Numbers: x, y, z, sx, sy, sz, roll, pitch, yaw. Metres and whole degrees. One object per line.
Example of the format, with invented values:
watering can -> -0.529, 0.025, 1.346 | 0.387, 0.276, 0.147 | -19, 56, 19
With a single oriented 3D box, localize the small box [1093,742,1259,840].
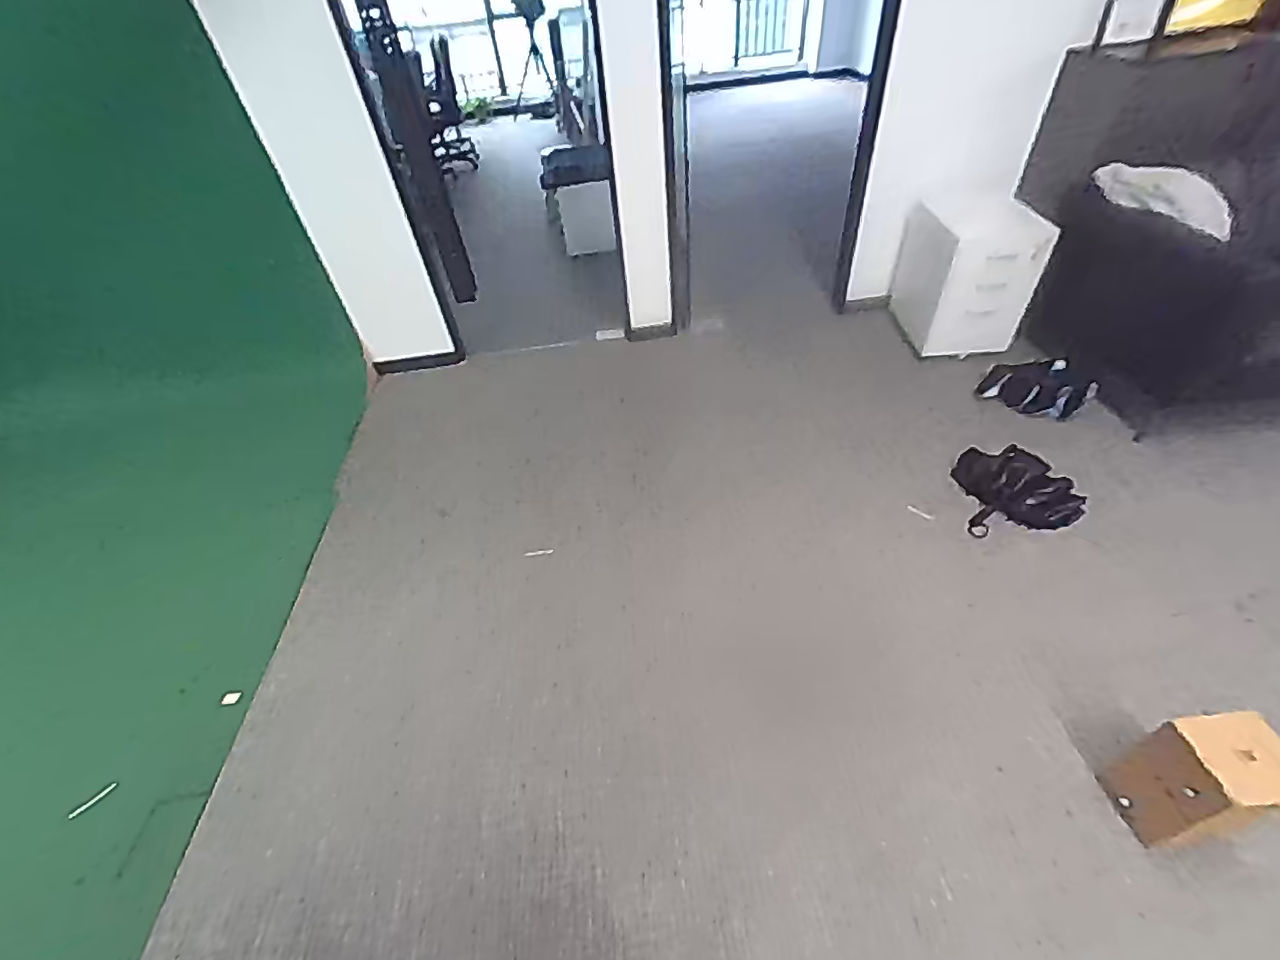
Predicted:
small box -> 1.214, 0.708, 1.244 | 0.179, 0.176, 0.168 | -9, 46, -1

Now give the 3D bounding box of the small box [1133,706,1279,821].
small box -> 1.196, 0.595, 1.129 | 0.179, 0.176, 0.168 | -6, 47, -1
